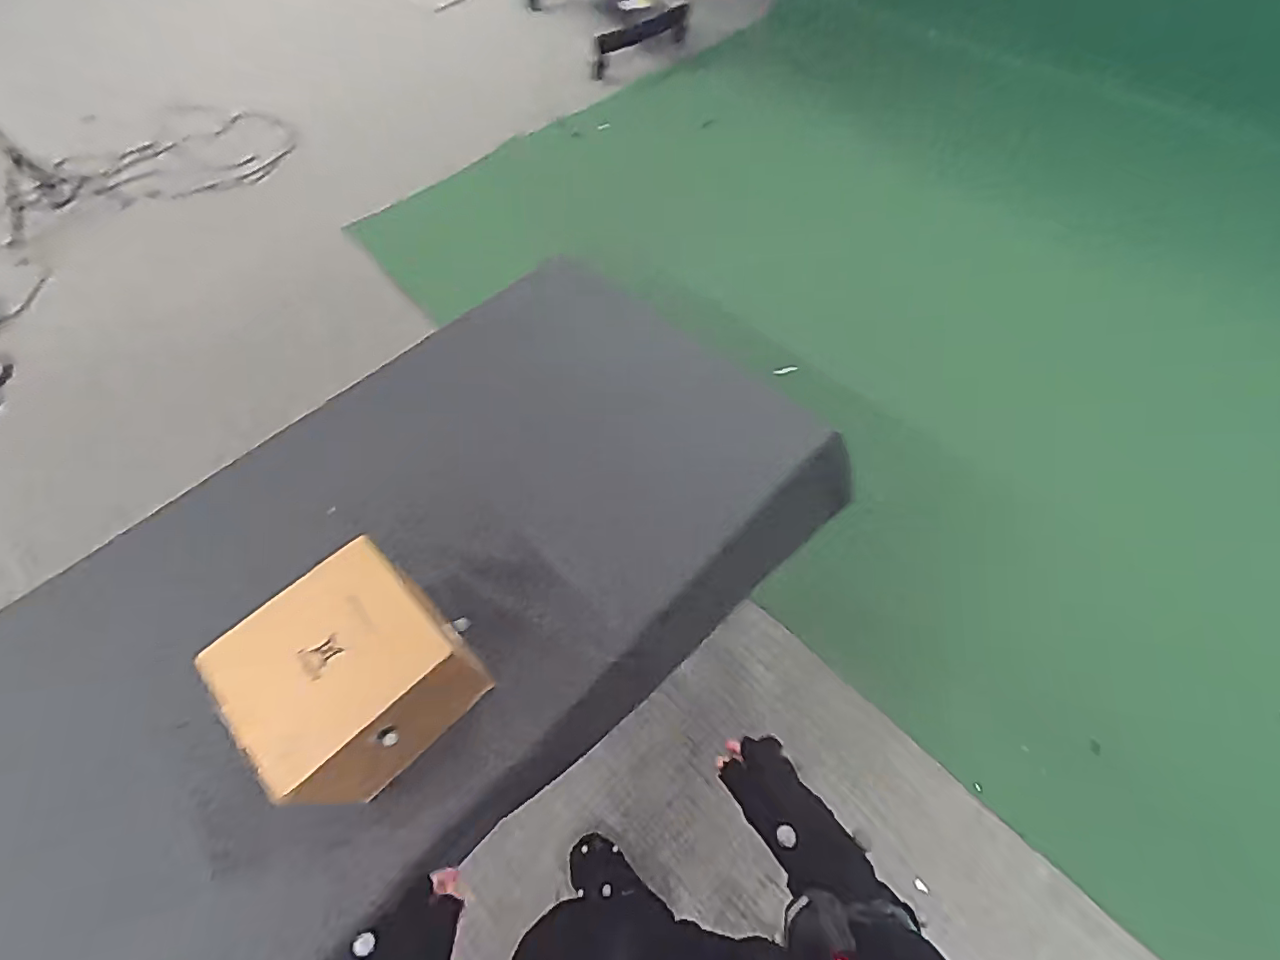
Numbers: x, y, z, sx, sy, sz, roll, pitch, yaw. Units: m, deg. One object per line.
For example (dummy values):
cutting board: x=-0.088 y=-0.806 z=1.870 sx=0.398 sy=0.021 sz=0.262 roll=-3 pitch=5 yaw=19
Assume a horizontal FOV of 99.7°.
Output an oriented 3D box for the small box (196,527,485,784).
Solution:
small box: x=-0.292 y=0.188 z=0.567 sx=0.168 sy=0.176 sz=0.179 roll=41 pitch=68 yaw=20
